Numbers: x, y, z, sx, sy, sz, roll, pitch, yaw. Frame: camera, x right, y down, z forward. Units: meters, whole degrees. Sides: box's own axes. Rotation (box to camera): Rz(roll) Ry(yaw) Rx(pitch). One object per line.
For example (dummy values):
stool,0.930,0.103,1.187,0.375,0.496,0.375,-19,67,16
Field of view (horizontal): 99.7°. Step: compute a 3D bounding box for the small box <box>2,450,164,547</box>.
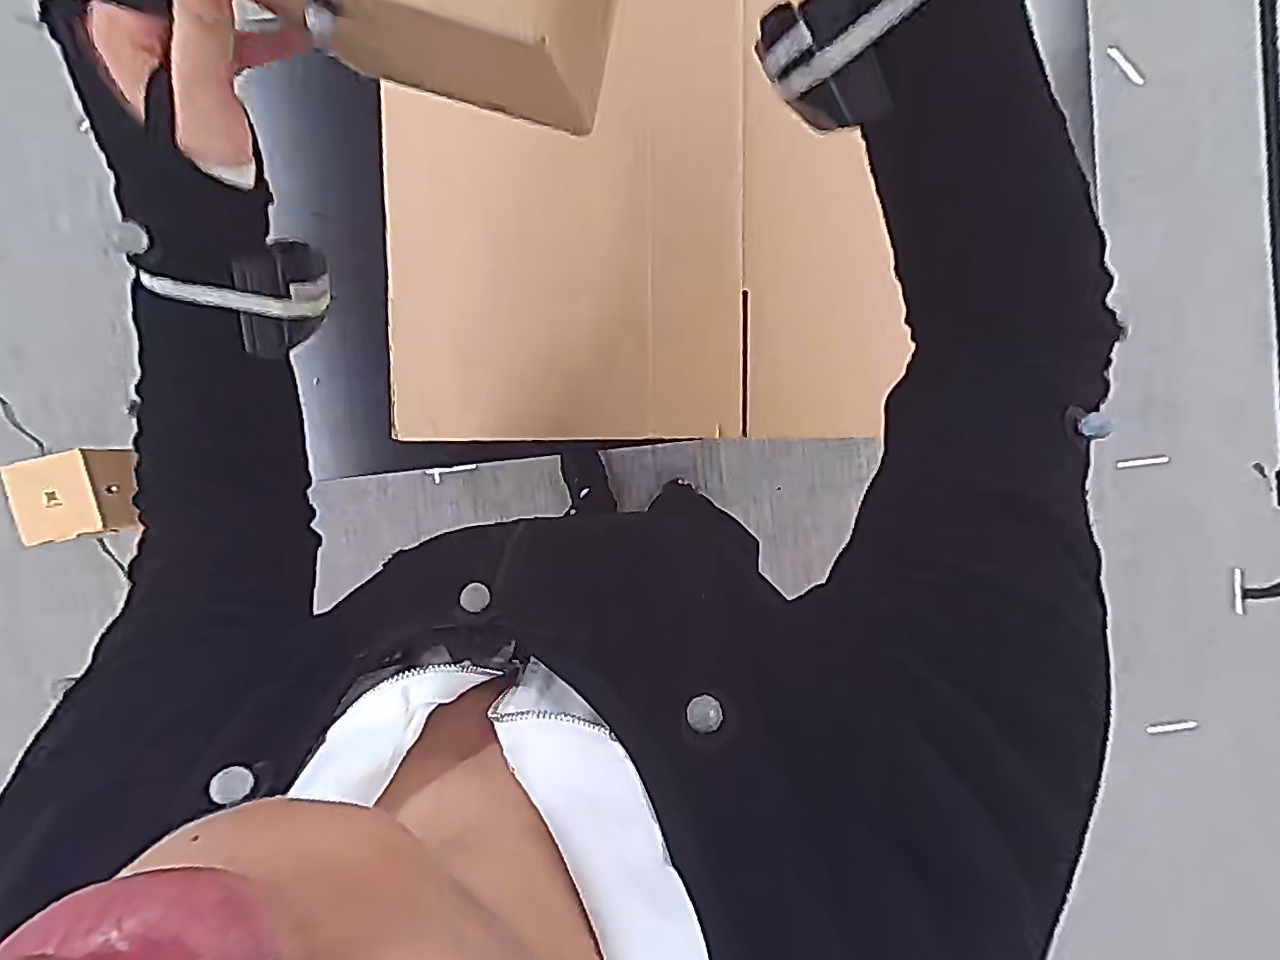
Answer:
small box,-1.213,0.034,1.194,0.168,0.176,0.179,-14,92,-3
